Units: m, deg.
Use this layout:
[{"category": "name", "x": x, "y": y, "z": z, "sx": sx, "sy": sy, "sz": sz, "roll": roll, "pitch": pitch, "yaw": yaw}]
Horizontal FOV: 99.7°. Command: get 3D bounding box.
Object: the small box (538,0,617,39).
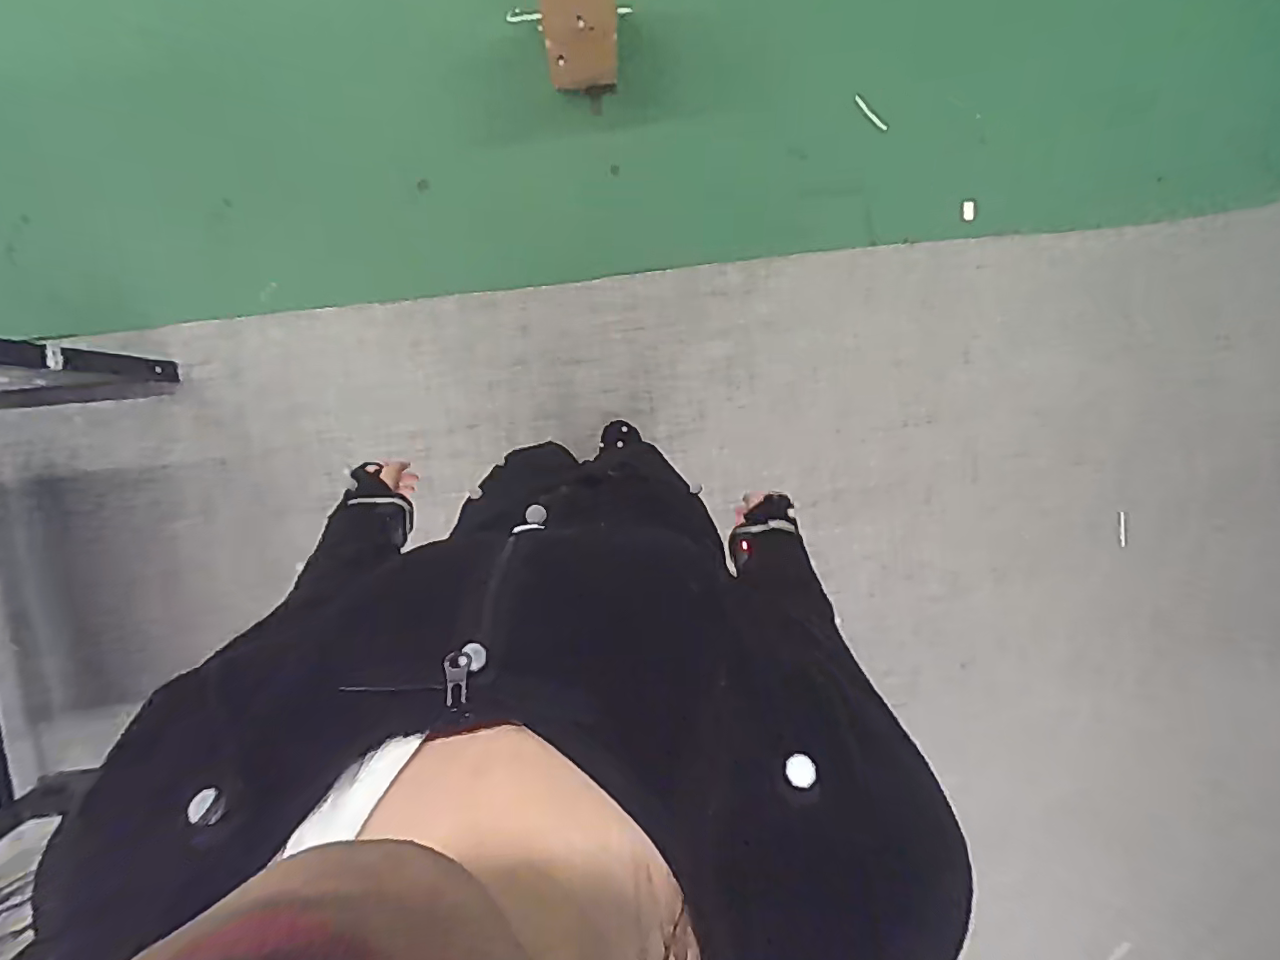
[{"category": "small box", "x": -0.143, "y": -1.084, "z": 1.134, "sx": 0.168, "sy": 0.176, "sz": 0.179, "roll": -10, "pitch": 96, "yaw": -1}]
